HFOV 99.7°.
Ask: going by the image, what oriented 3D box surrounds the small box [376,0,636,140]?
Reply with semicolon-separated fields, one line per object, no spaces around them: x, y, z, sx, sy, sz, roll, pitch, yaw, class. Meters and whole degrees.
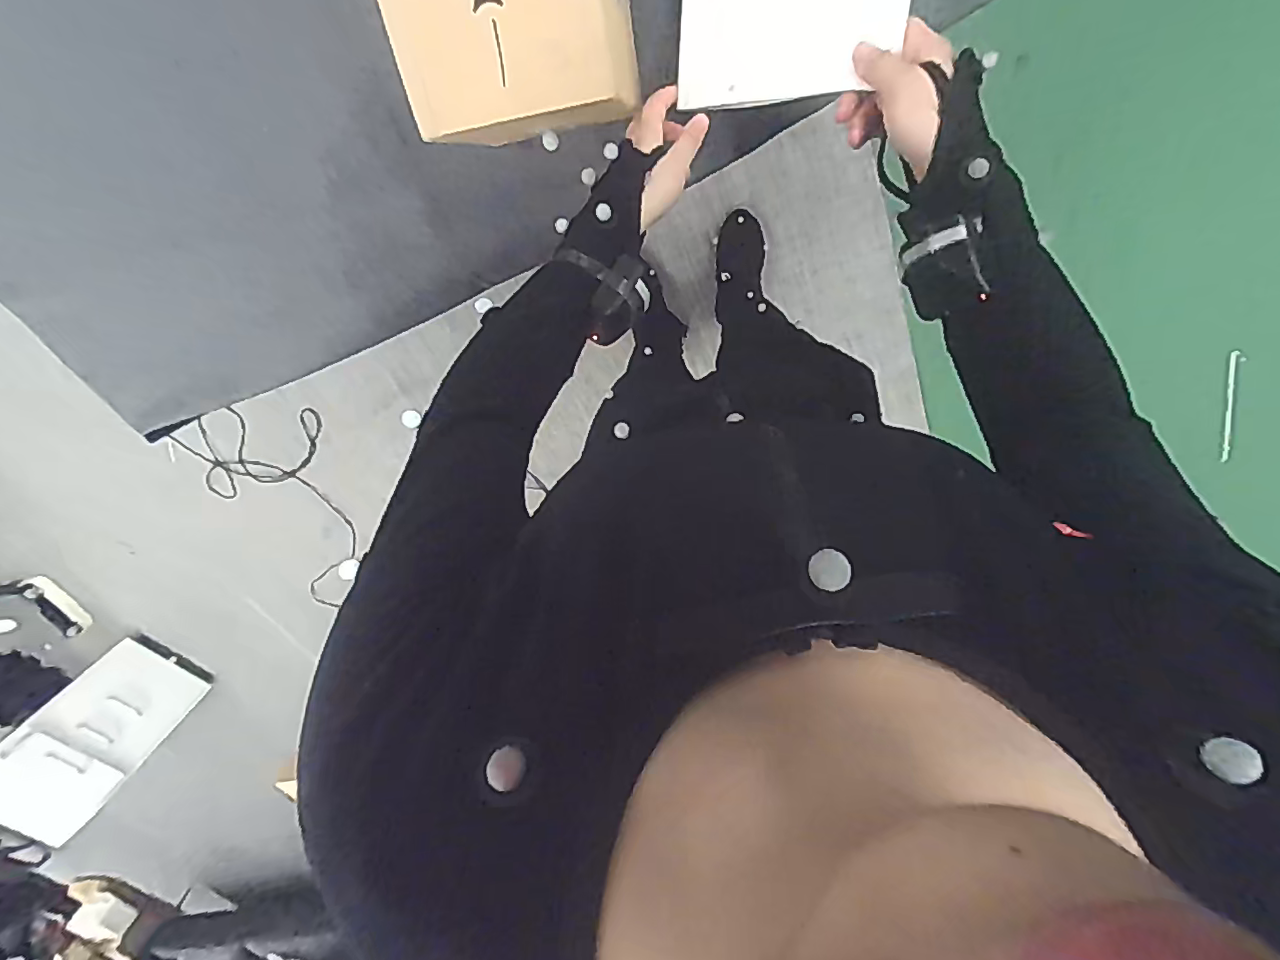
-0.104;-0.399;0.451;0.168;0.176;0.179;-4;121;12;small box
